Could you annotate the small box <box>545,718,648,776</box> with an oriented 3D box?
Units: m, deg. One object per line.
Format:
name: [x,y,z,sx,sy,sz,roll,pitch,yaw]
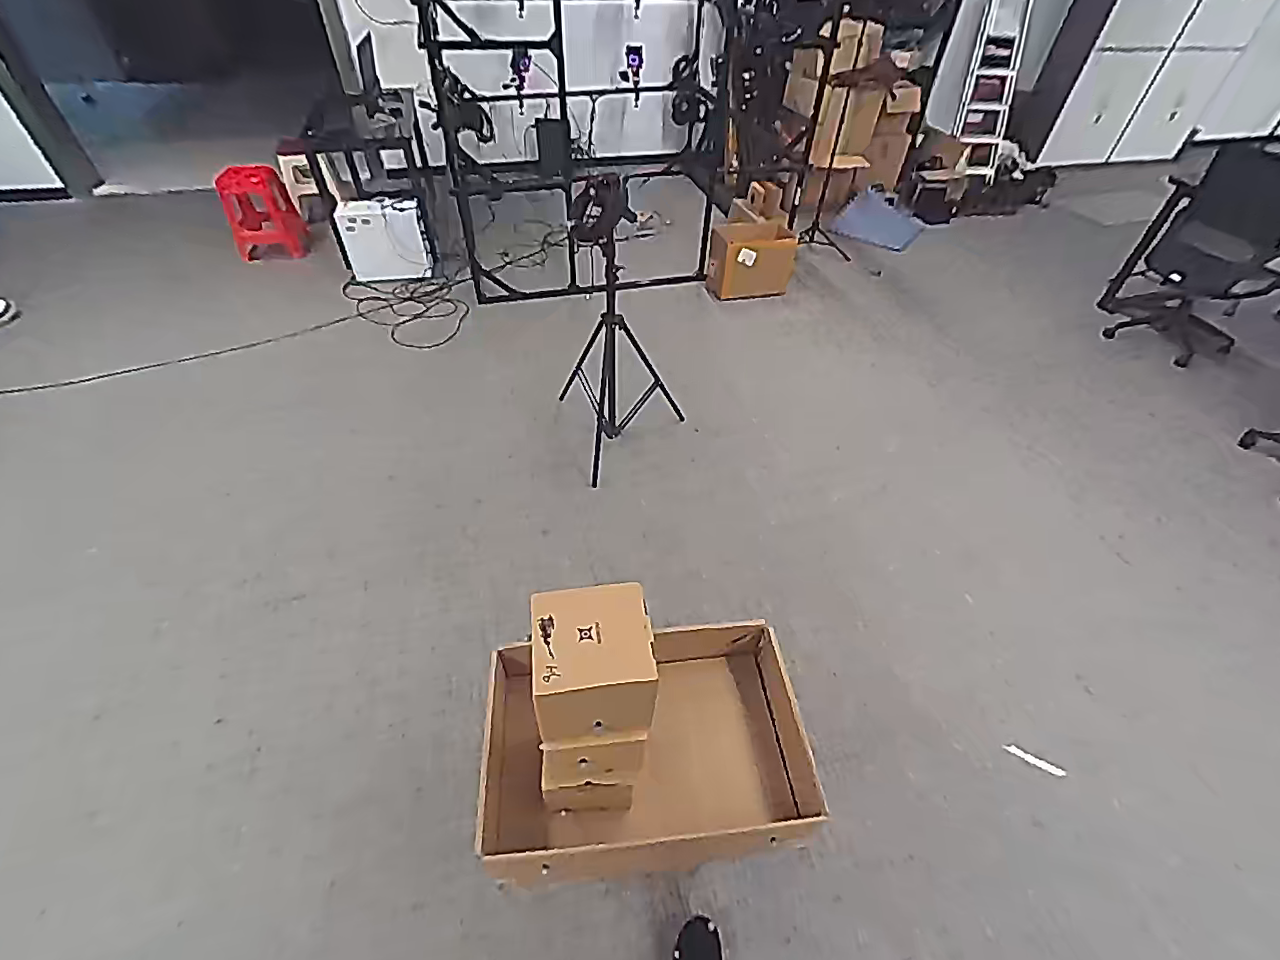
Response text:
small box: [-0.079,0.407,0.959,0.168,0.176,0.179,-3,45,-7]

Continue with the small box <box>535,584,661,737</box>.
small box: [-0.072,0.284,0.851,0.179,0.176,0.168,-3,44,-8]

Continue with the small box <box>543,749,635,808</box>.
small box: [-0.096,0.530,1.065,0.168,0.176,0.179,0,44,-4]
